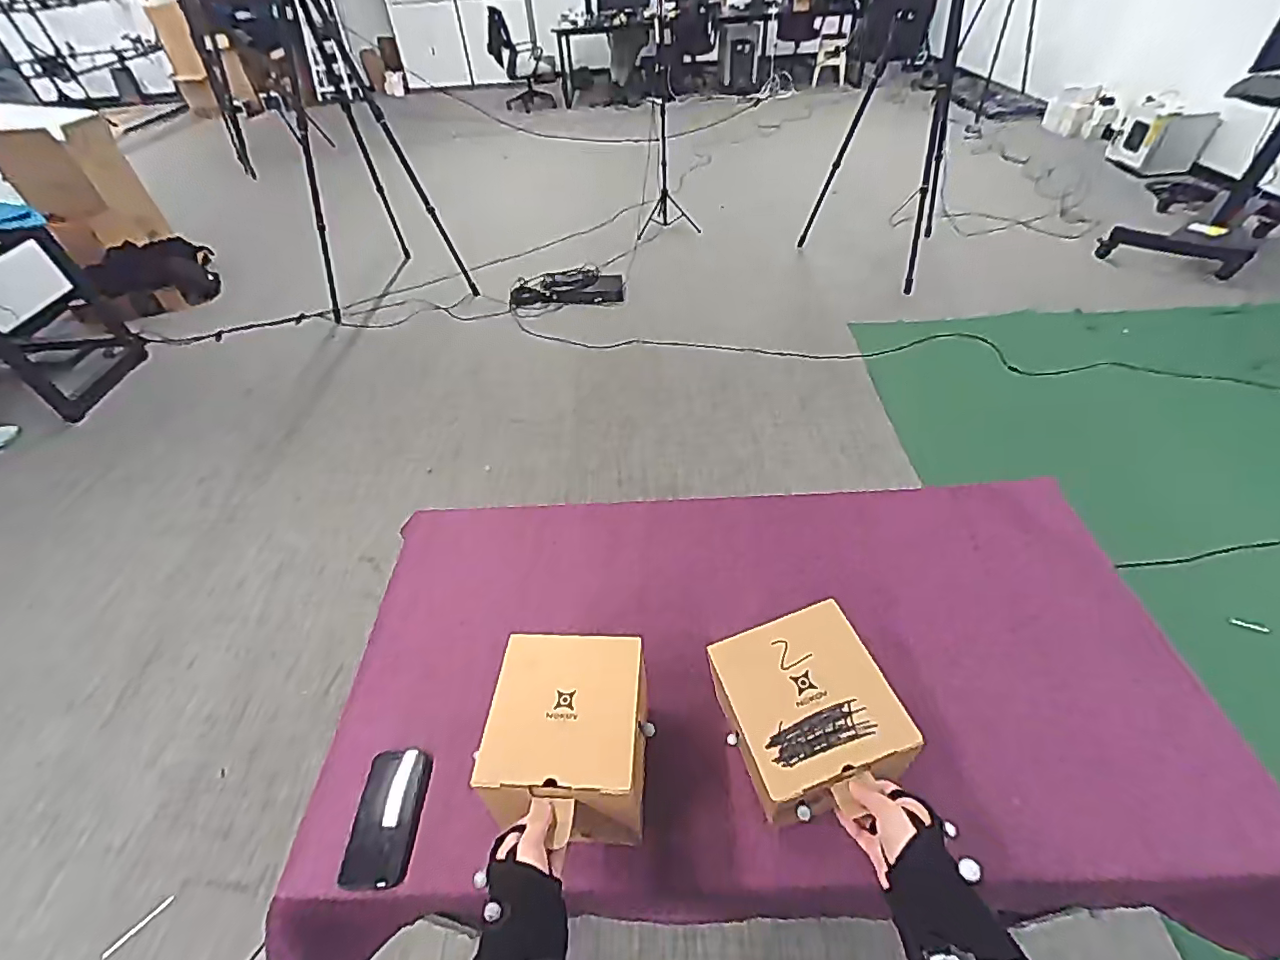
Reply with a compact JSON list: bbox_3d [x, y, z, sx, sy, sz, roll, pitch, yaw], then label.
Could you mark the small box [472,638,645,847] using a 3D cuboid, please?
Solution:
[{"bbox_3d":[-0.082,0.316,0.657,0.168,0.176,0.179,0,42,5],"label":"small box"}]
